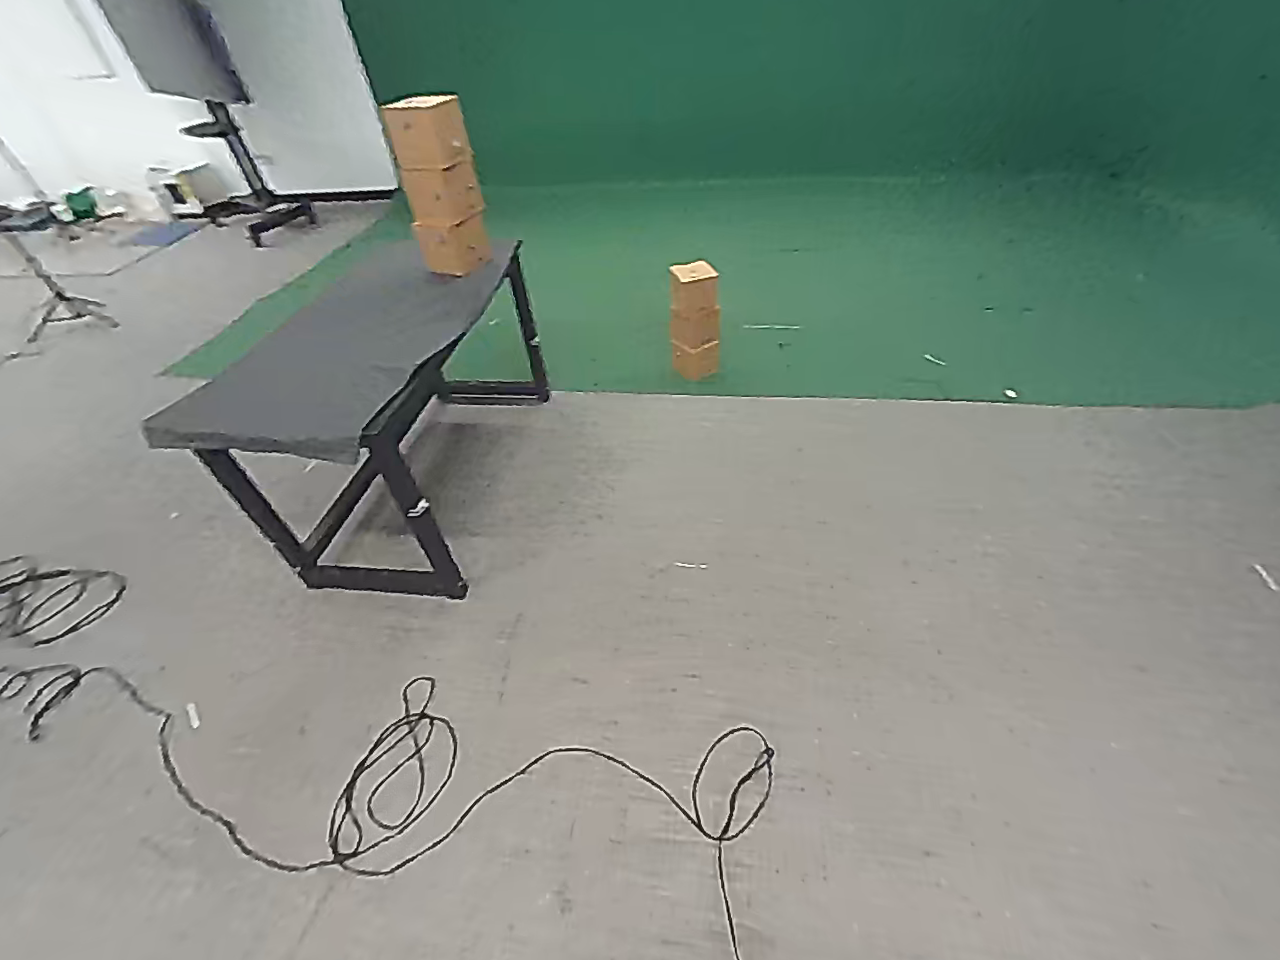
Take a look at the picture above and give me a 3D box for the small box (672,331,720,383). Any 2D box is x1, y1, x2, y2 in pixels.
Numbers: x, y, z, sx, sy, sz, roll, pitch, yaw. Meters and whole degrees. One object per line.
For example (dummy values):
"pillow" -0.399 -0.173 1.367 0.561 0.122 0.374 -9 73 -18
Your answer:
"small box" 0.276 -0.598 2.650 0.168 0.176 0.179 -29 48 -22

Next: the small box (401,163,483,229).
"small box" -0.663 -0.964 1.835 0.179 0.176 0.168 12 45 21

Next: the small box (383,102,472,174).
"small box" -0.671 -1.088 1.727 0.179 0.176 0.168 8 45 16

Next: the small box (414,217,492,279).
"small box" -0.660 -0.835 1.935 0.179 0.176 0.168 16 48 25

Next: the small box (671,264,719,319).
"small box" 0.245 -0.848 2.438 0.168 0.176 0.179 -15 44 -9
